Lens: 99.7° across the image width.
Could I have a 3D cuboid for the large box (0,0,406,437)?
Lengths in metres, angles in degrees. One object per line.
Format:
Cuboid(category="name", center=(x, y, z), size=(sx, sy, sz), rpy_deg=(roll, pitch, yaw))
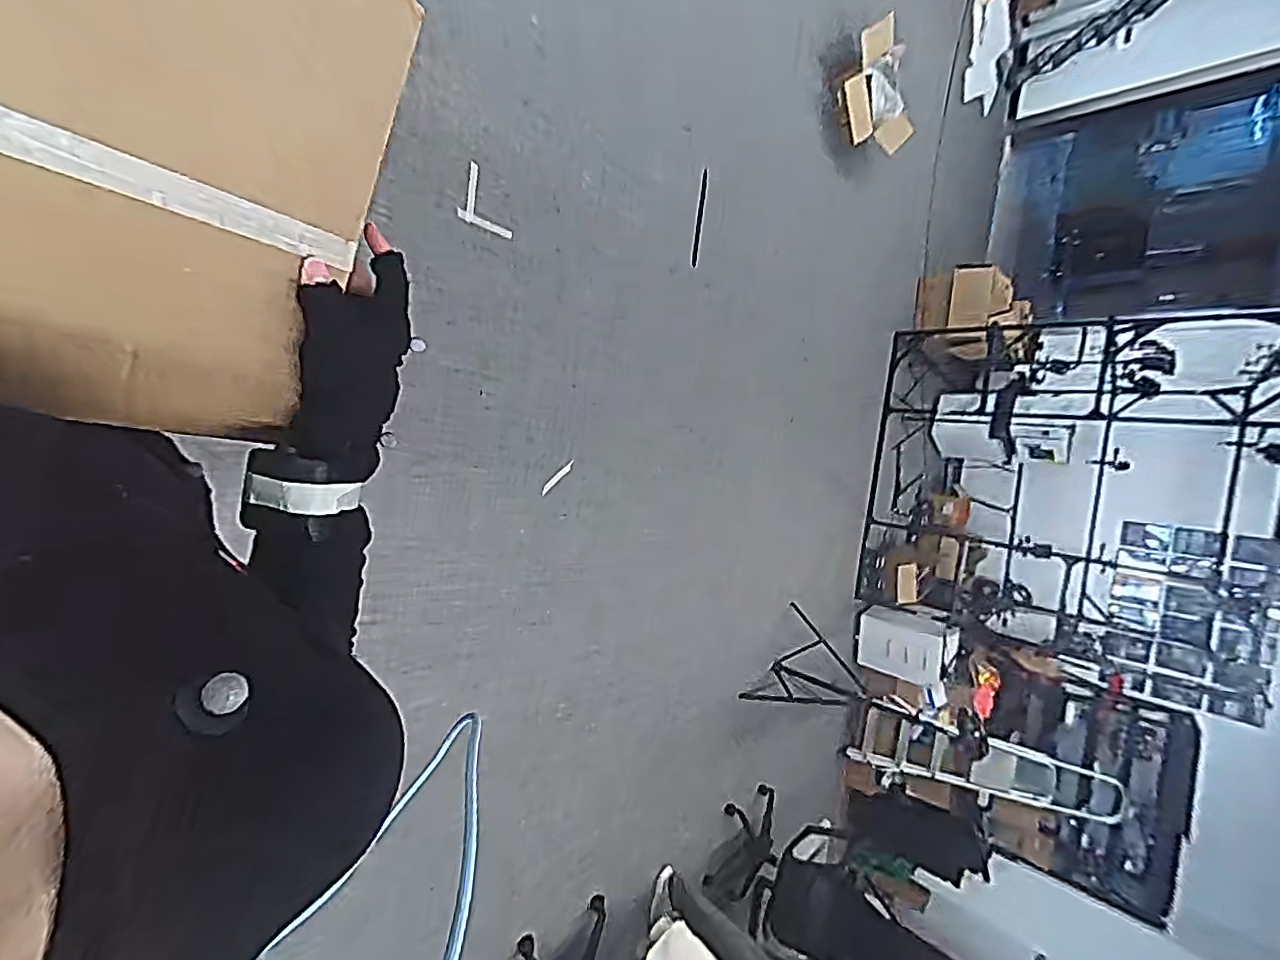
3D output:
Cuboid(category="large box", center=(-0.429, -0.257, 0.327), size=(0.408, 0.320, 0.320), rpy_deg=(7, 121, -46))
